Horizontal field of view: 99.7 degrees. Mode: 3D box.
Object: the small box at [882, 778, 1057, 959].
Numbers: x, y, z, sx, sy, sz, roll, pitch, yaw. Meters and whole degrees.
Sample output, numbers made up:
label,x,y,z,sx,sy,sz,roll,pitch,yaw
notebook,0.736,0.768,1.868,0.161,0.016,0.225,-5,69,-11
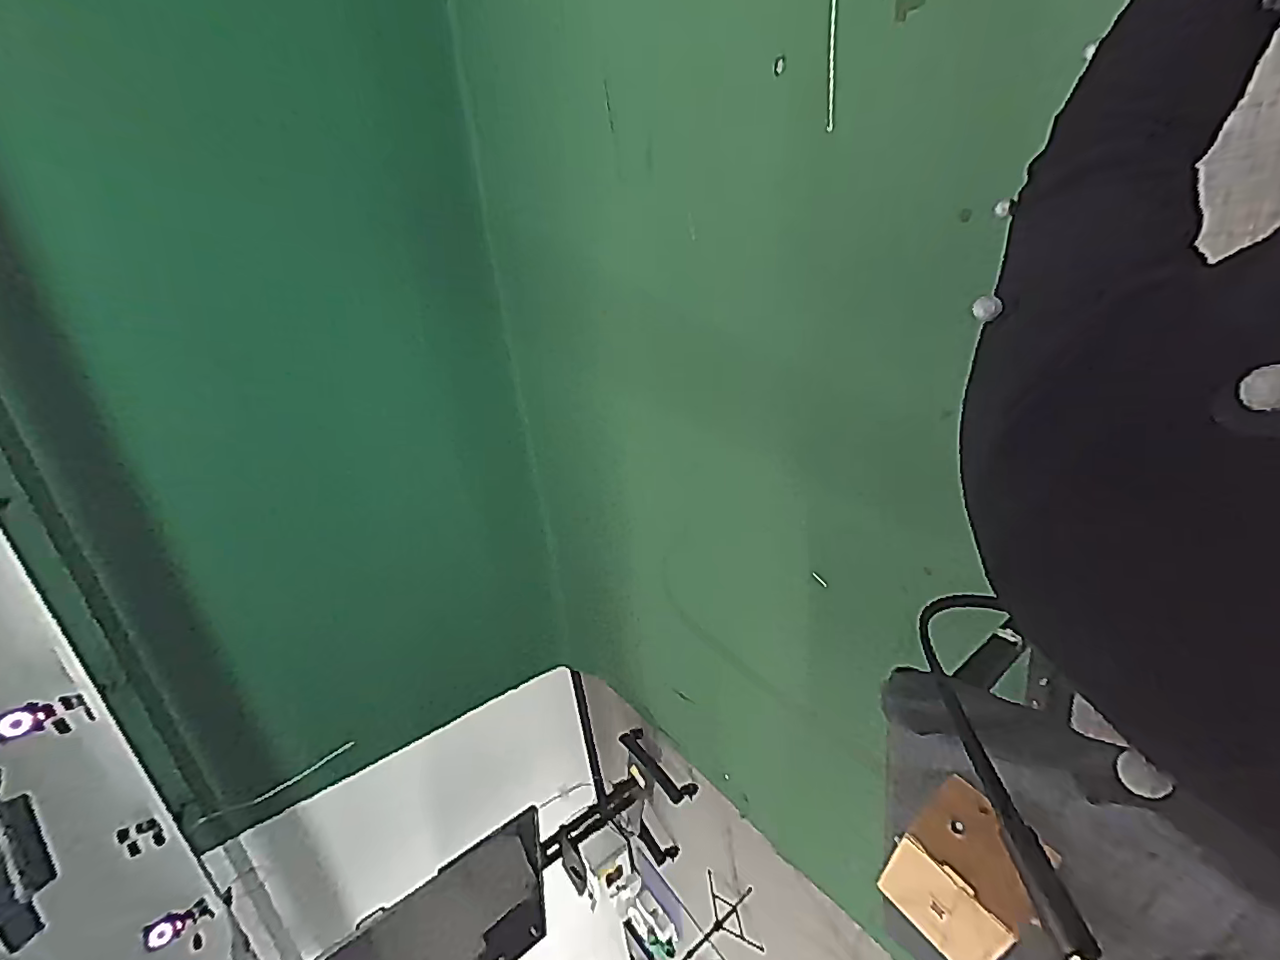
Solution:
label,x,y,z,sx,sy,sz,roll,pitch,yaw
small box,0.530,0.630,0.872,0.168,0.176,0.179,36,137,44
